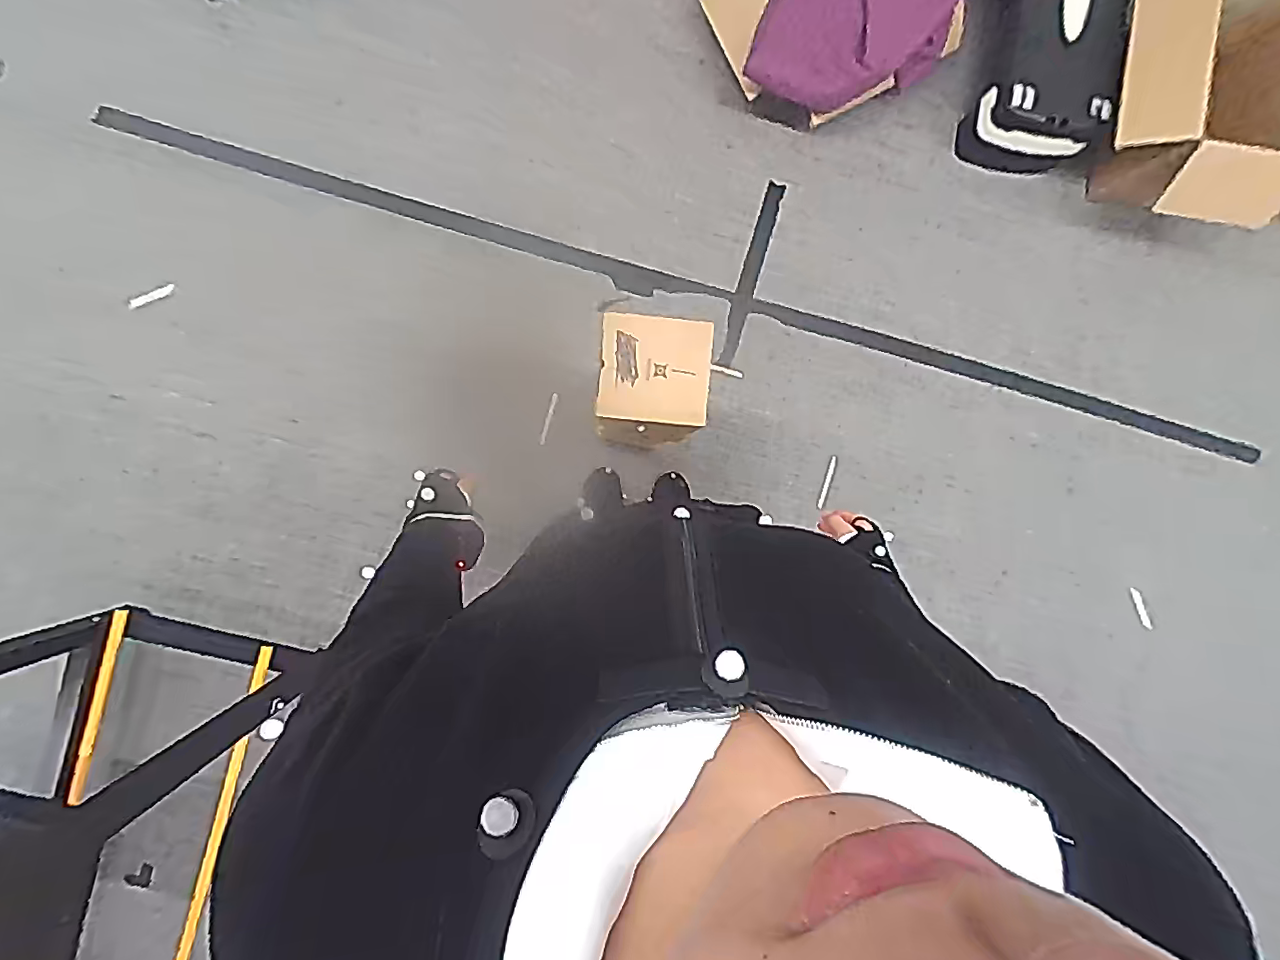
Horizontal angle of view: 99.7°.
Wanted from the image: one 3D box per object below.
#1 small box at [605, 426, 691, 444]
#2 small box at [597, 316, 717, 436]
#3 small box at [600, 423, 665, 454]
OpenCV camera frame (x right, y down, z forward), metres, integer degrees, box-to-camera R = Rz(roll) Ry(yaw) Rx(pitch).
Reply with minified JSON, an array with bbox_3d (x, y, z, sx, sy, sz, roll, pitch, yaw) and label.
[{"bbox_3d":[0.023,-0.167,1.087,0.168,0.176,0.179,6,91,-1],"label":"small box"},{"bbox_3d":[0.025,-0.167,0.921,0.179,0.176,0.168,5,91,-2],"label":"small box"},{"bbox_3d":[-0.005,-0.171,1.415,0.168,0.176,0.179,13,92,-1],"label":"small box"}]
